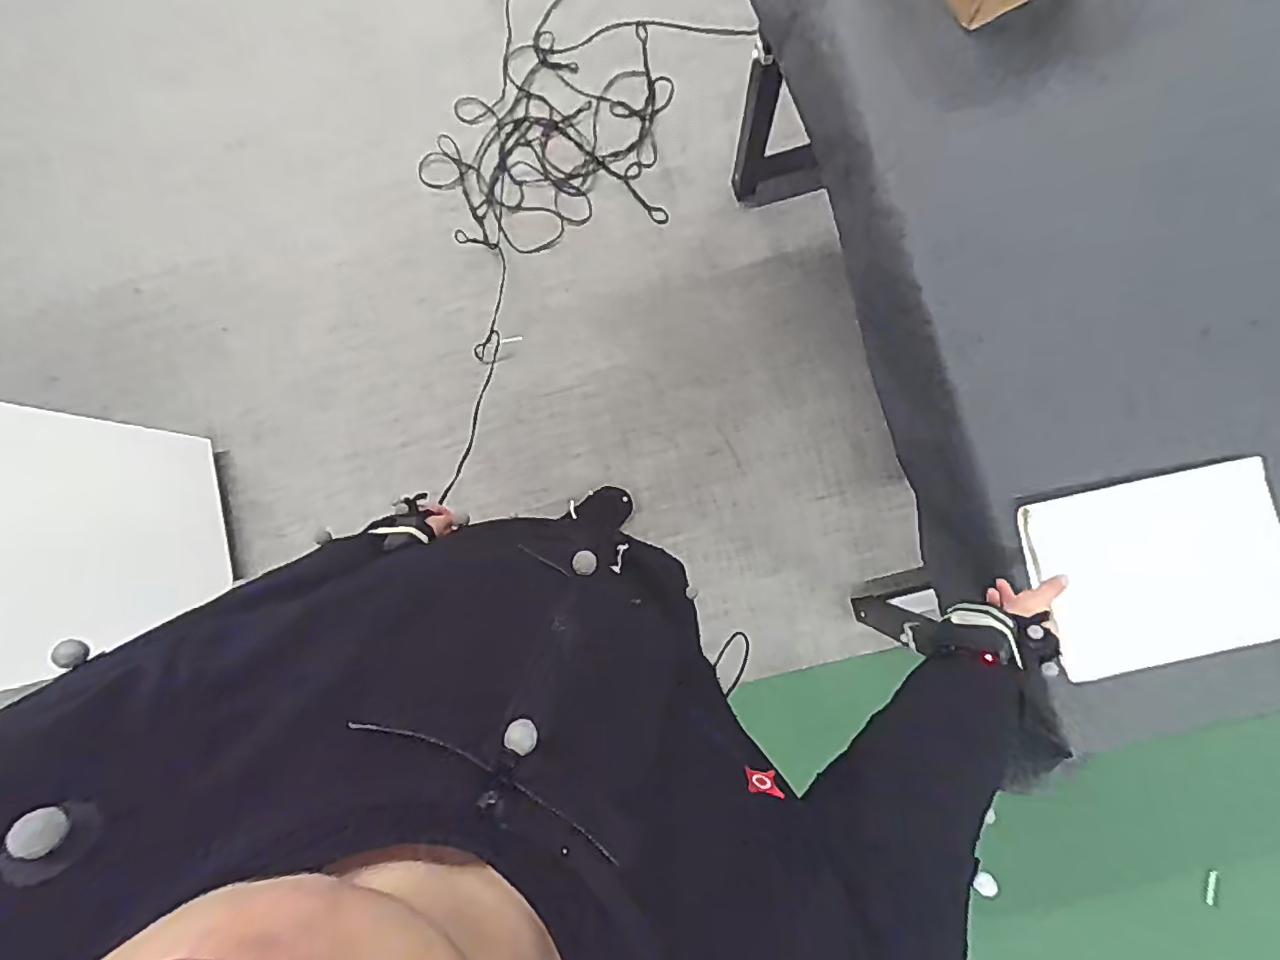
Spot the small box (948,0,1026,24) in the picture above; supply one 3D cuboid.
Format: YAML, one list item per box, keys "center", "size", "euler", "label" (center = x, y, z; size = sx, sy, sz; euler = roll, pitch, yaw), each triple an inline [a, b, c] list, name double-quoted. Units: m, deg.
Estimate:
- center: [0.430, -0.672, 0.593]
  size: [0.168, 0.176, 0.179]
  euler: [-28, 85, 0]
  label: "small box"
